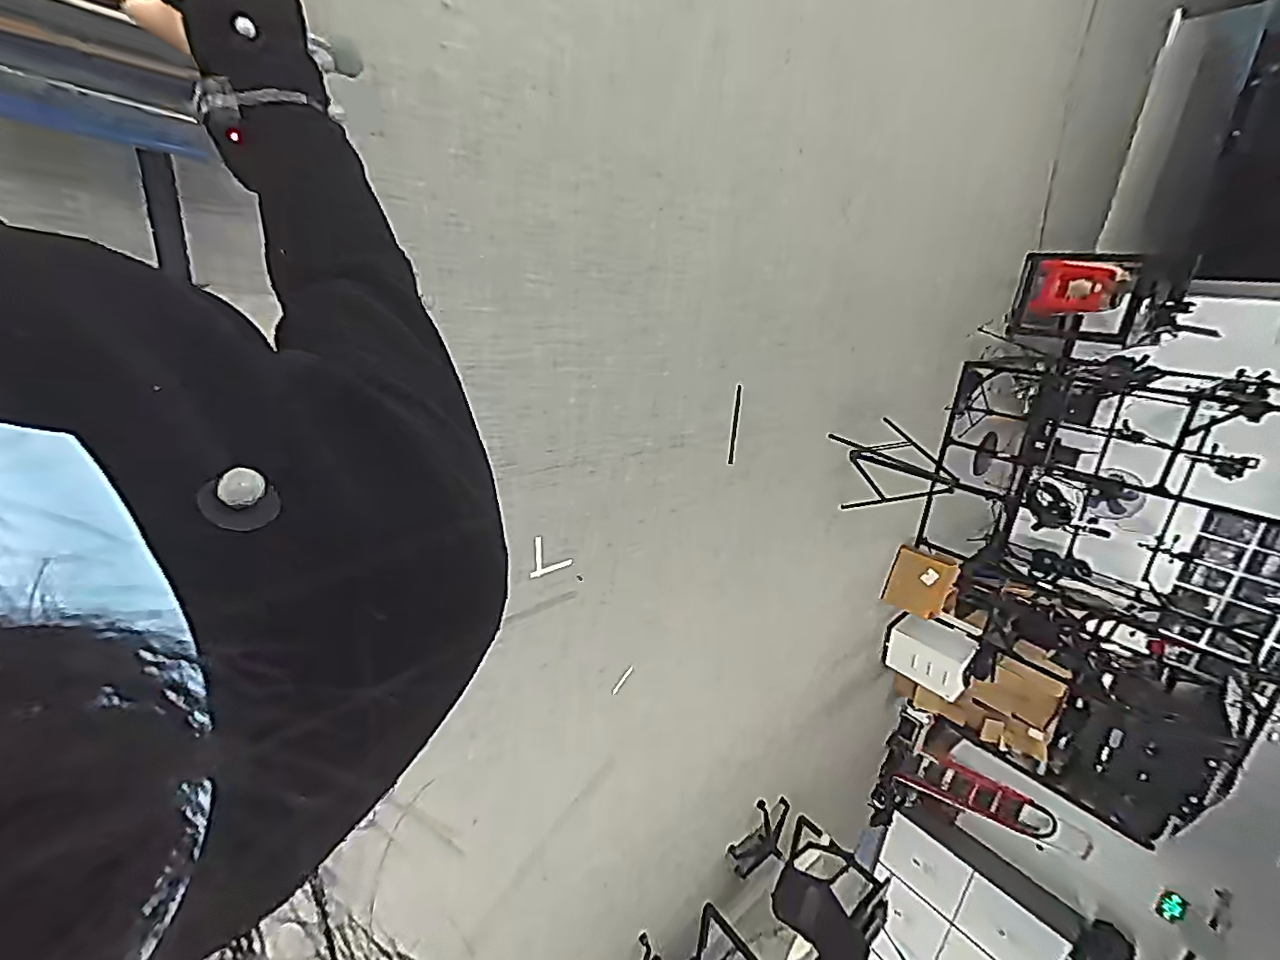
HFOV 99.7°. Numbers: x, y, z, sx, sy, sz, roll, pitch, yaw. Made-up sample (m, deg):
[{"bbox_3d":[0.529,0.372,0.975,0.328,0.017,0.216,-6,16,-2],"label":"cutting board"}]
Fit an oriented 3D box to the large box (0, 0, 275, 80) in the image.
[{"bbox_3d":[-0.740,-0.765,0.672,0.408,0.320,0.320,-12,116,-41],"label":"large box"}]
